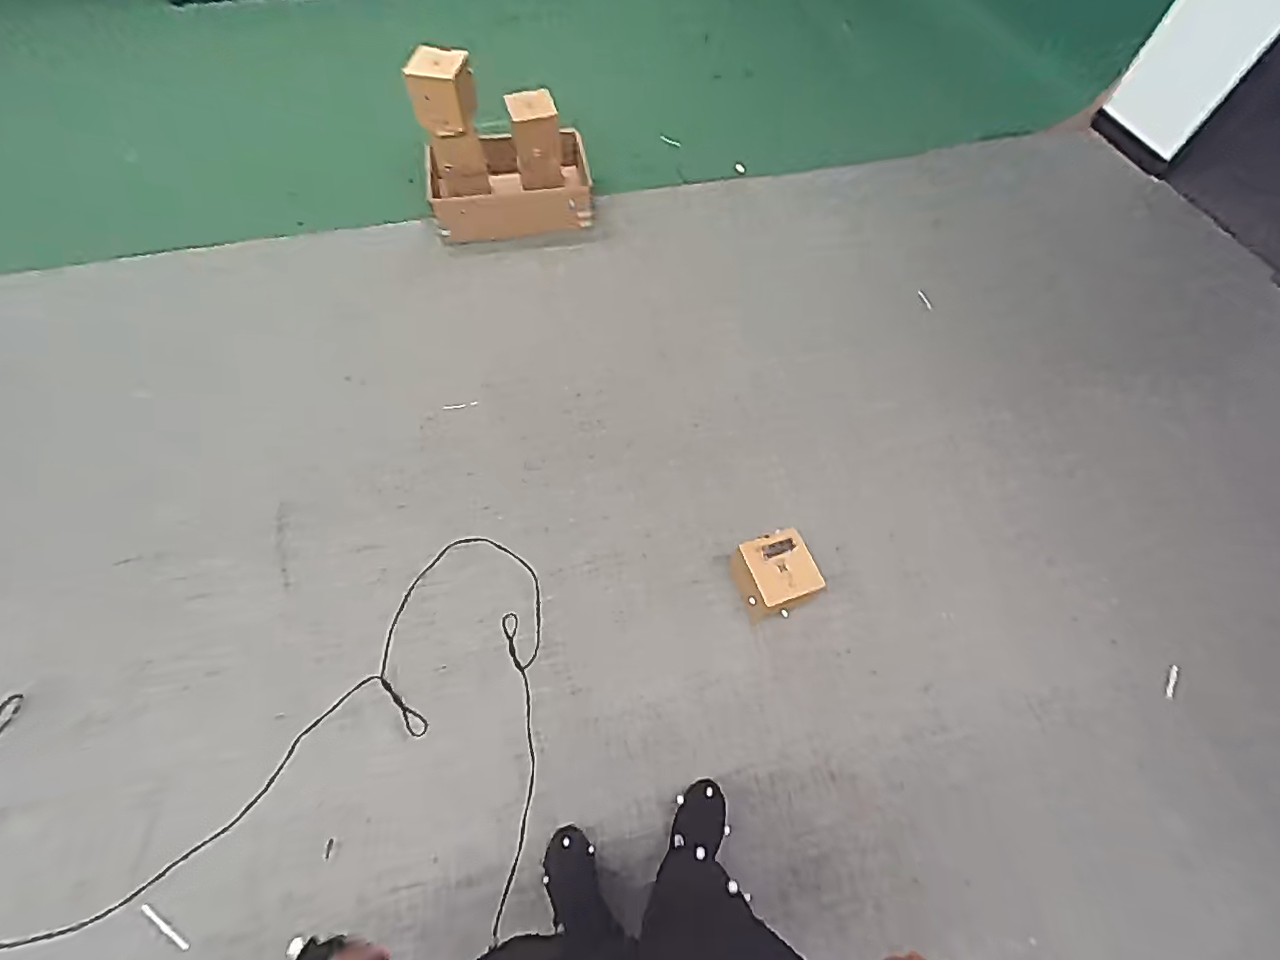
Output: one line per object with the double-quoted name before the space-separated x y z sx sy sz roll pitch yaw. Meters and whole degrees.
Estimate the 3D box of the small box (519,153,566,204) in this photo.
"small box" -0.395 -1.254 2.195 0.168 0.176 0.179 -7 62 -5

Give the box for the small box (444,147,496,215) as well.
"small box" -0.676 -1.187 2.145 0.168 0.176 0.179 -12 62 -8

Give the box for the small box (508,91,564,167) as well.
"small box" -0.393 -1.329 2.050 0.168 0.176 0.179 -16 65 -8

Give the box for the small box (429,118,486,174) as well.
"small box" -0.673 -1.256 1.996 0.168 0.176 0.179 -10 61 -8

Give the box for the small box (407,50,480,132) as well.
"small box" -0.663 -1.328 1.851 0.168 0.176 0.179 9 60 2
